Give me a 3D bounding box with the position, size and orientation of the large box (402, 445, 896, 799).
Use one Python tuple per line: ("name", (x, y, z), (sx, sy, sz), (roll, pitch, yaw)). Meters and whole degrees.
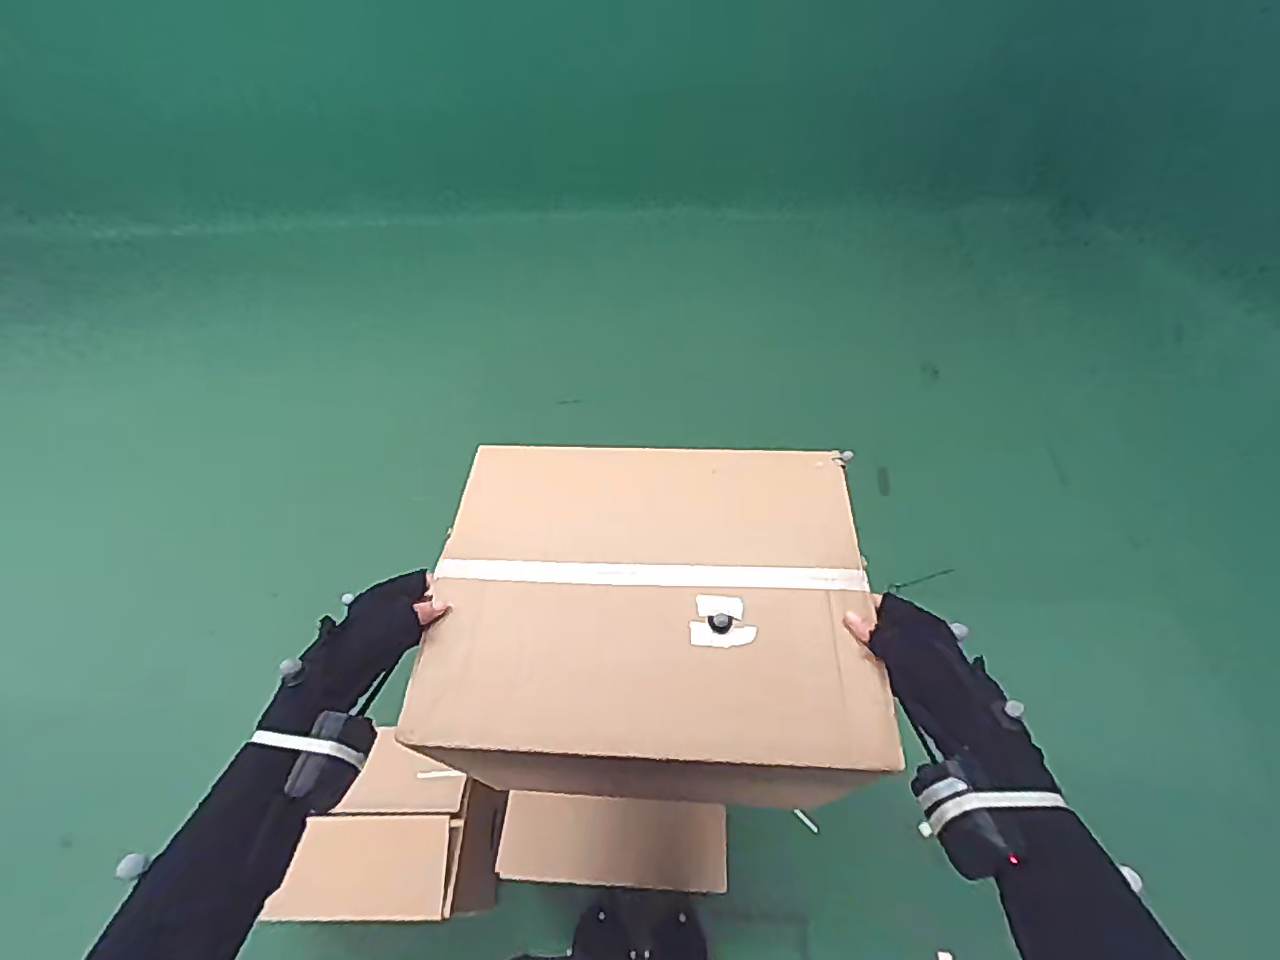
("large box", (0.012, 0.175, 0.634), (0.408, 0.320, 0.320), (2, 55, 3))
